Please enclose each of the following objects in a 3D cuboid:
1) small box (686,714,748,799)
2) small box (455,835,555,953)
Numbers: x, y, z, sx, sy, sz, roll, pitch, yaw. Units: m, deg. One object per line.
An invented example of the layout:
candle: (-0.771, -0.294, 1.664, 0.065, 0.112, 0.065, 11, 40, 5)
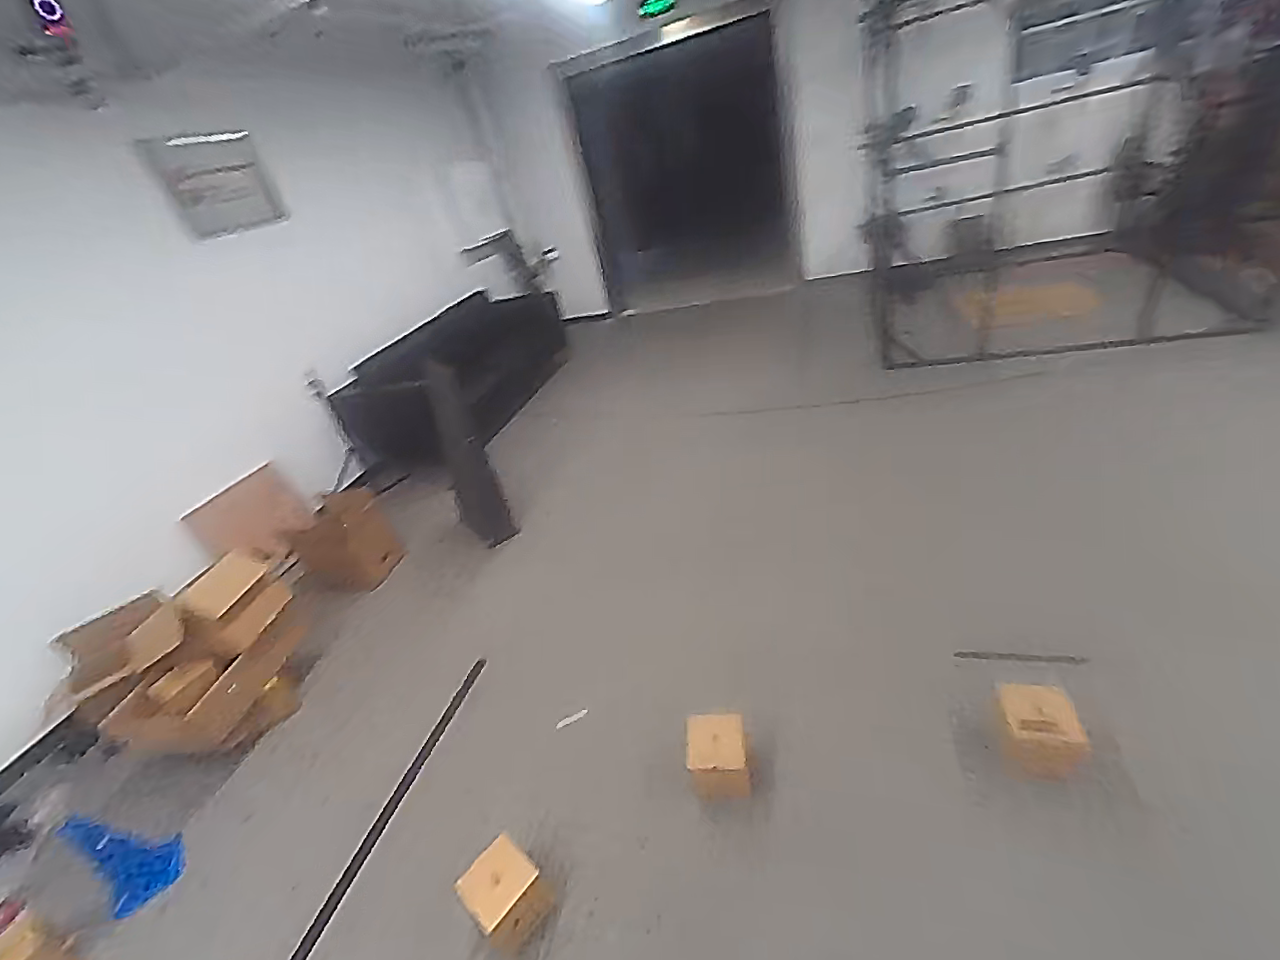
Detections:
small box: (0.237, 0.843, 1.651, 0.168, 0.176, 0.179, -8, 32, 12)
small box: (-0.358, 1.123, 1.461, 0.179, 0.176, 0.168, 16, 43, 41)
